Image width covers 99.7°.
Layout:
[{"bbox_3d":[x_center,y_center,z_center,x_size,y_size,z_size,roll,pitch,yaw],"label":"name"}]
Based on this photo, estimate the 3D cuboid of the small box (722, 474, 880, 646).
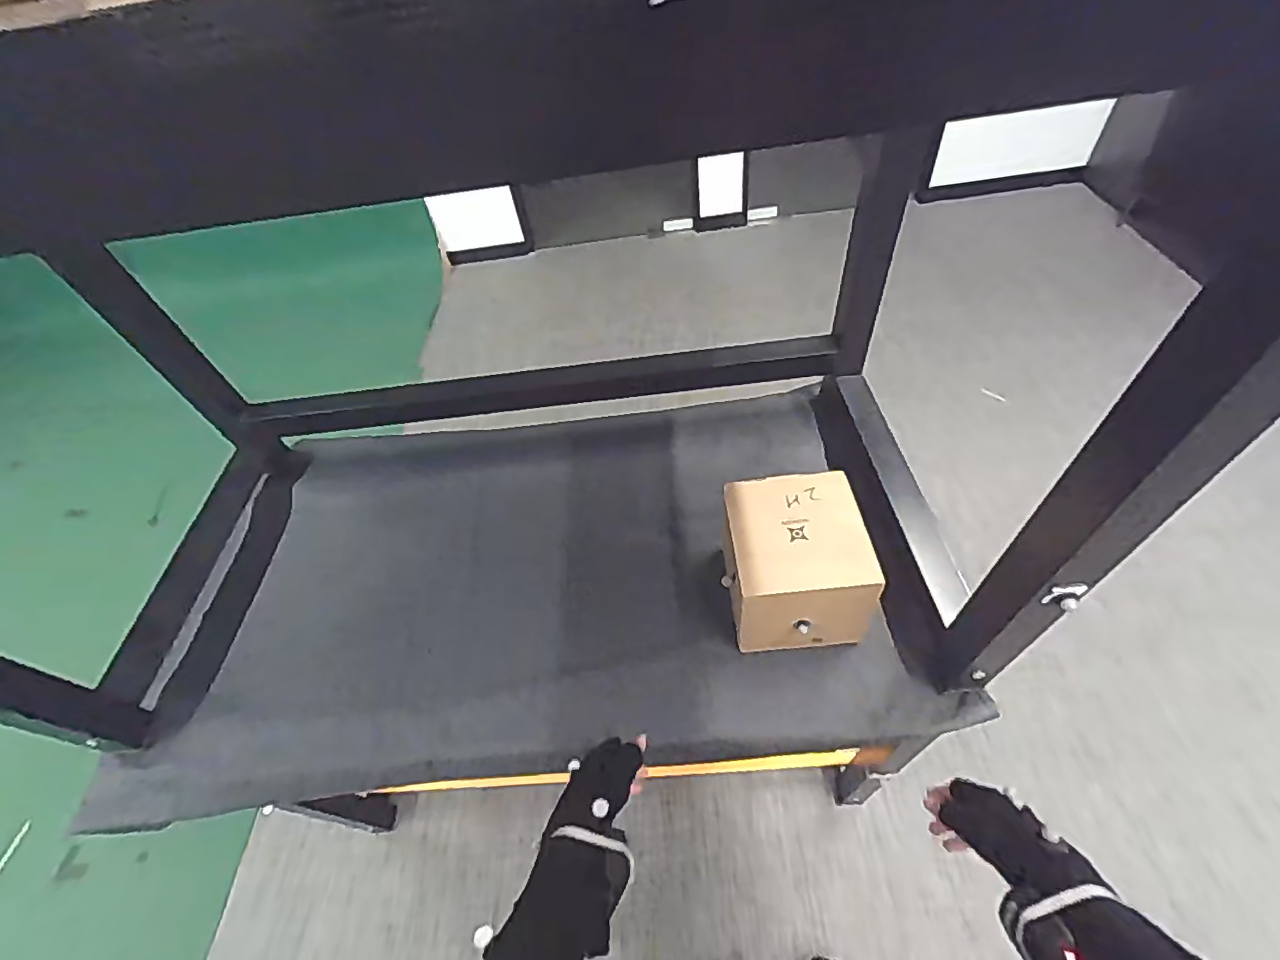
[{"bbox_3d":[0.207,0.117,0.744,0.168,0.176,0.179,-6,49,4],"label":"small box"}]
